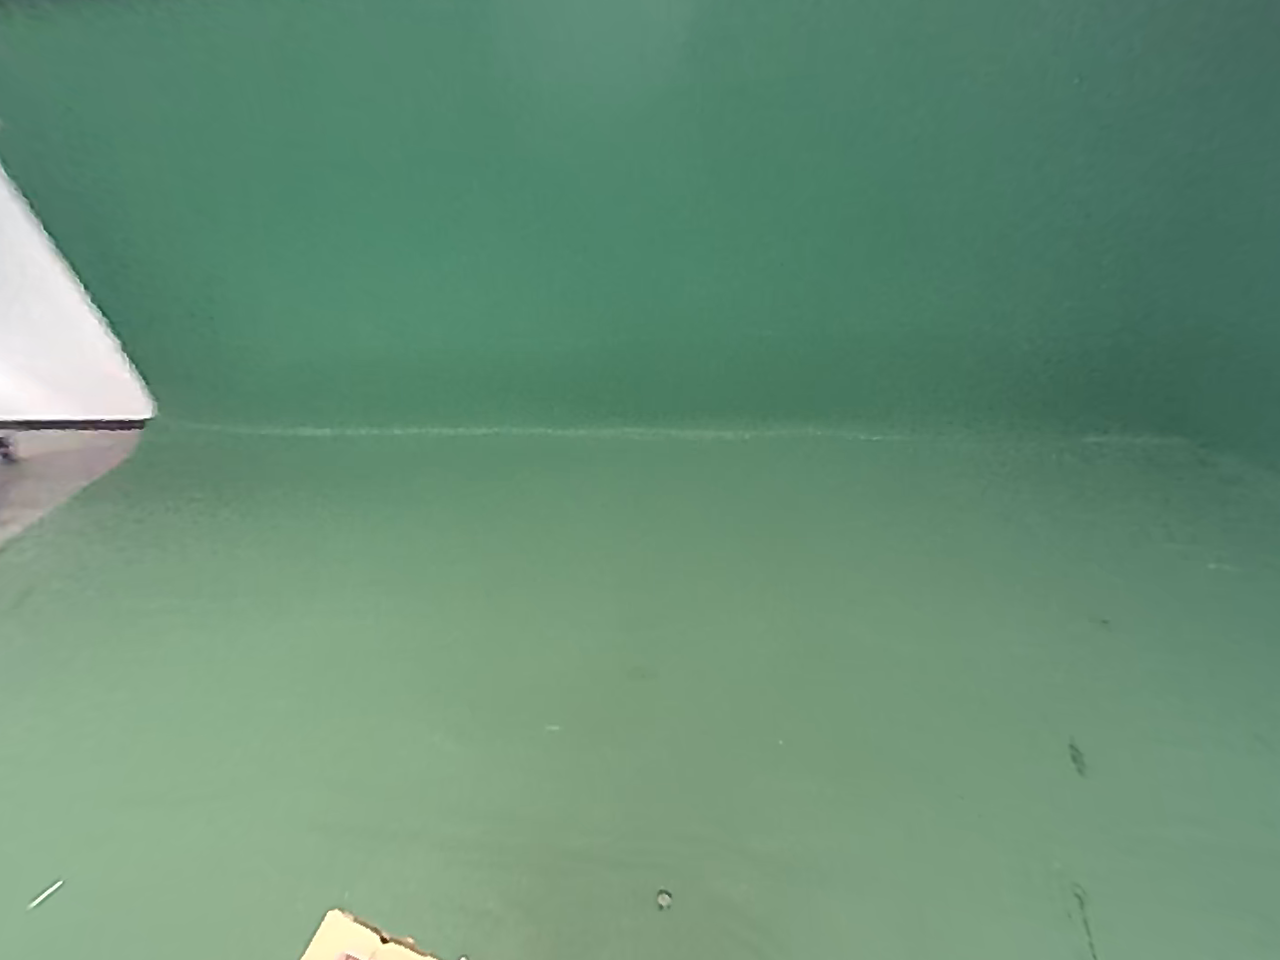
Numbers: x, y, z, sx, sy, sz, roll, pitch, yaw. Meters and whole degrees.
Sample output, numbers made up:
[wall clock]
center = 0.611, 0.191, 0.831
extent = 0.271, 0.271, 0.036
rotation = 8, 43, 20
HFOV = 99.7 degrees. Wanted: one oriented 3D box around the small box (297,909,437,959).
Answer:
[small box]
center = -0.316, 0.638, 0.613
extent = 0.168, 0.176, 0.179
rotation = 9, 44, 17
